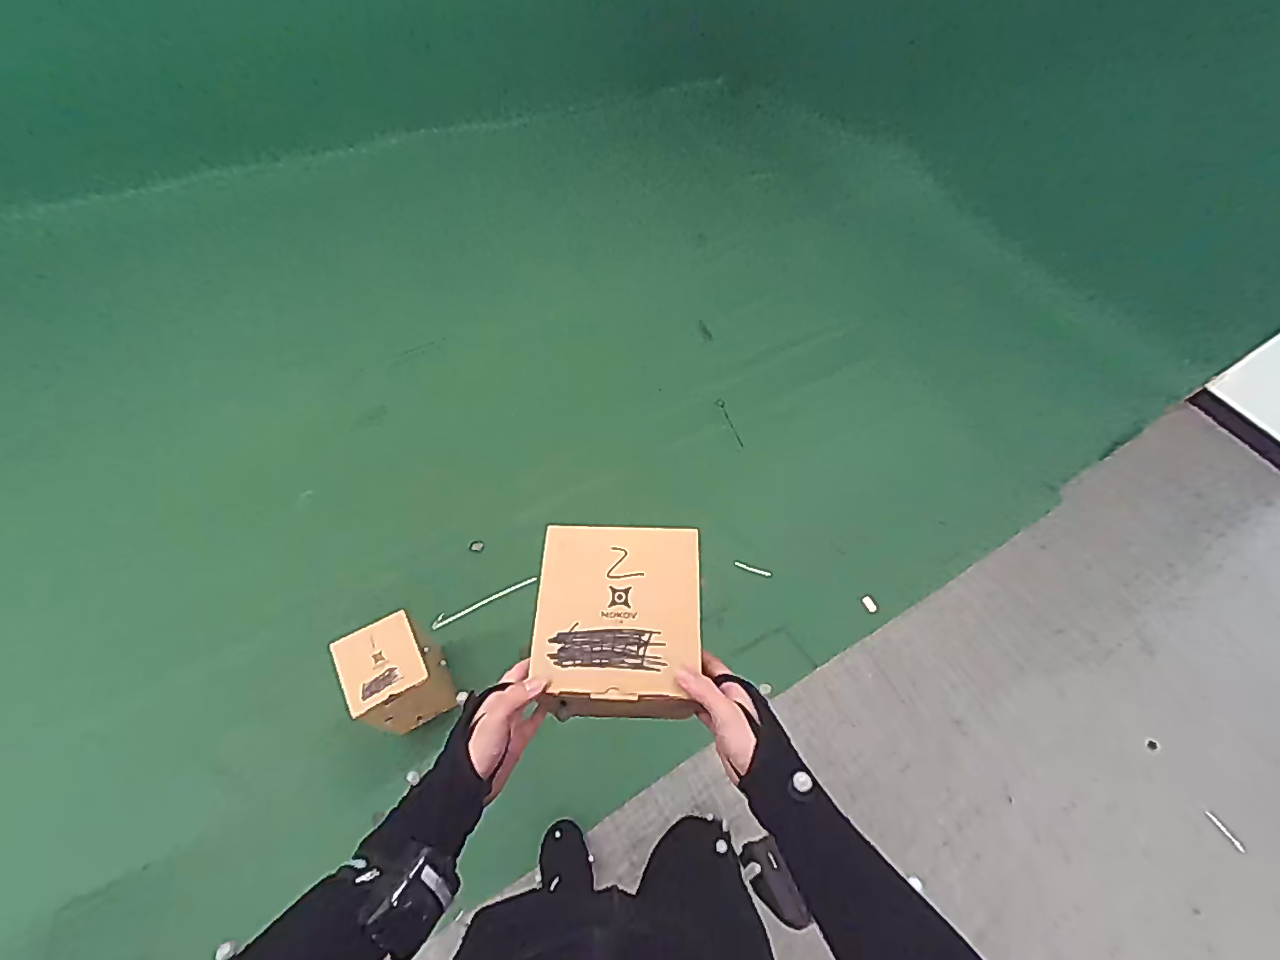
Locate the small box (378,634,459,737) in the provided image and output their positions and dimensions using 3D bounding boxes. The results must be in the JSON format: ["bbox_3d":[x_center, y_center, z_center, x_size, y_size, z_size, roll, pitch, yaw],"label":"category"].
[{"bbox_3d":[-0.581,0.528,1.377,0.168,0.176,0.179,-25,65,-19],"label":"small box"}]

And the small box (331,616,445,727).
[{"bbox_3d":[-0.568,0.444,1.237,0.168,0.176,0.179,-25,64,-19],"label":"small box"}]
